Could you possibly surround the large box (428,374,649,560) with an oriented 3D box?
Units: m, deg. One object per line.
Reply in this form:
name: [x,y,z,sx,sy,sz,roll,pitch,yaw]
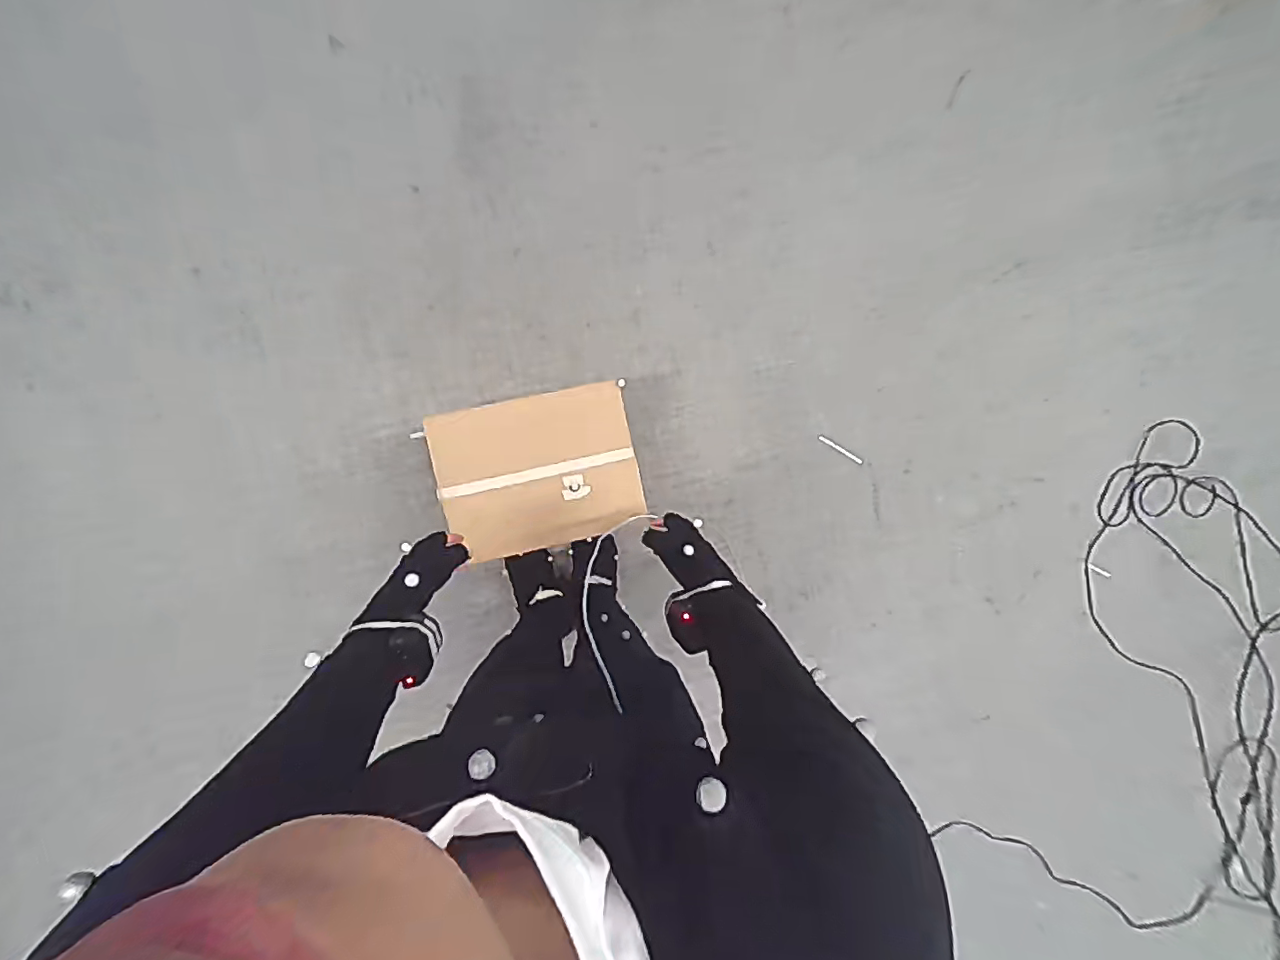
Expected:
large box: [-0.221,-0.032,1.260,0.408,0.320,0.320,-13,94,-6]
